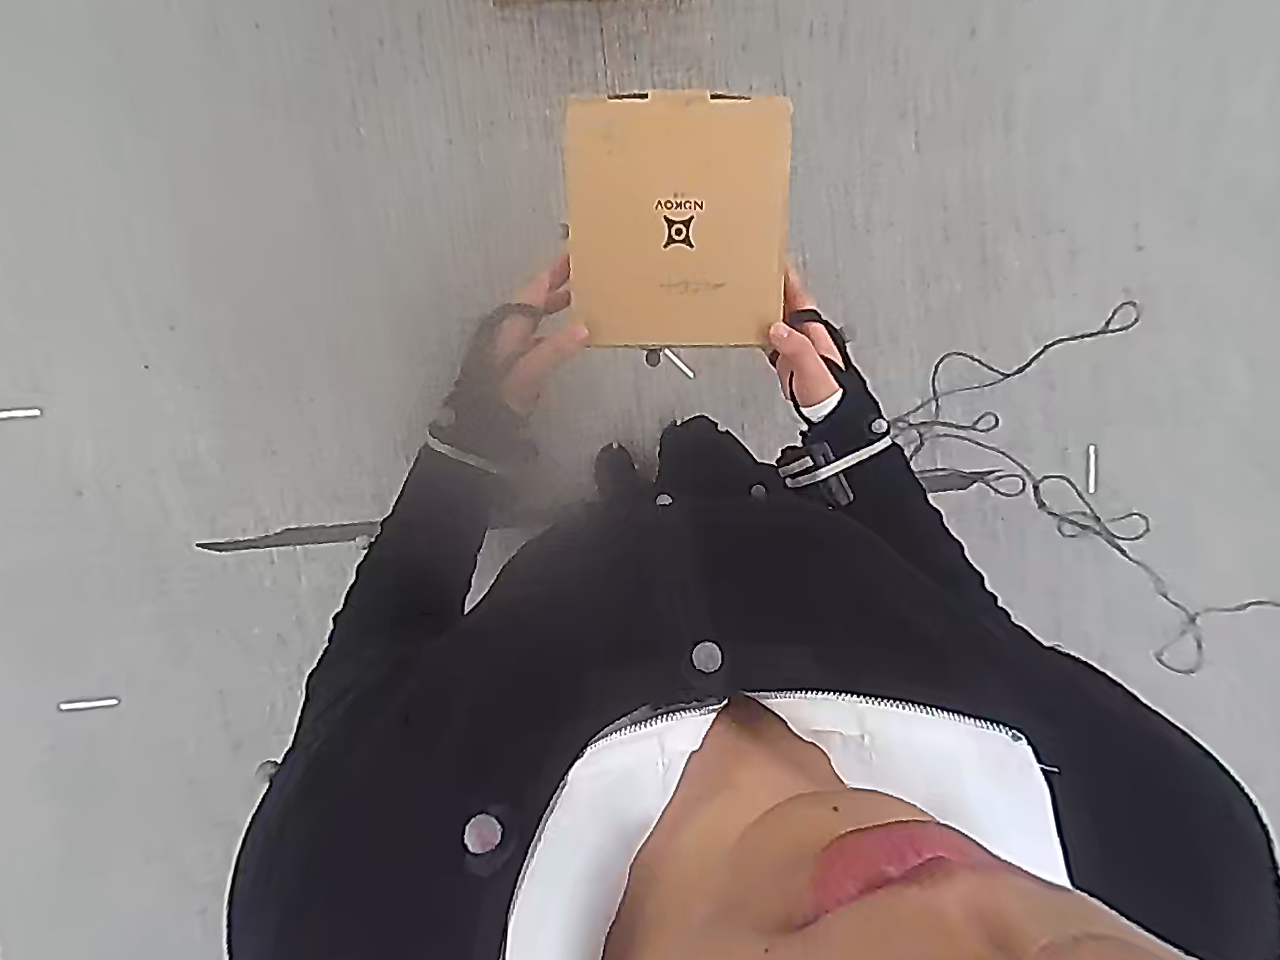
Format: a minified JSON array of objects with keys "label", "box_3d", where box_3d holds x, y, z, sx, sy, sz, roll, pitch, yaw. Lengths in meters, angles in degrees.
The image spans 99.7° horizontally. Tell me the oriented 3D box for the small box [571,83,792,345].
[{"label":"small box","box_3d":[0.027,-0.216,0.485,0.168,0.176,0.179,-1,102,-1]}]
